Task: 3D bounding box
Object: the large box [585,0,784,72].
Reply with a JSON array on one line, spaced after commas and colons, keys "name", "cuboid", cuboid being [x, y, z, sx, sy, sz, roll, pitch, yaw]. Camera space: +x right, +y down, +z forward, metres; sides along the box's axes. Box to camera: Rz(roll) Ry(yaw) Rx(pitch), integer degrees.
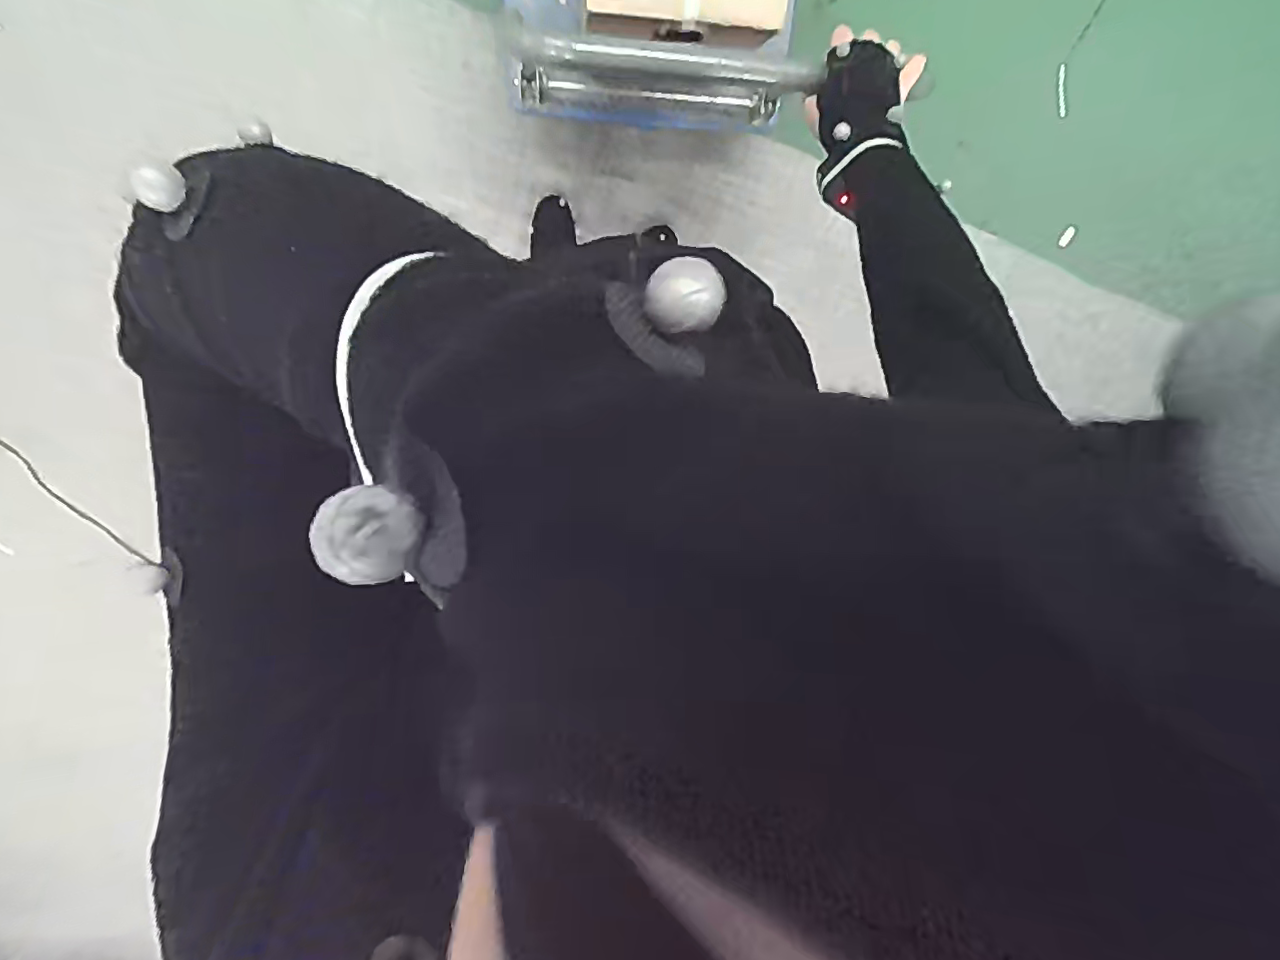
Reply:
[{"name": "large box", "cuboid": [0.063, -0.953, 0.889, 0.320, 0.320, 0.408, -1, 117, -7]}]
